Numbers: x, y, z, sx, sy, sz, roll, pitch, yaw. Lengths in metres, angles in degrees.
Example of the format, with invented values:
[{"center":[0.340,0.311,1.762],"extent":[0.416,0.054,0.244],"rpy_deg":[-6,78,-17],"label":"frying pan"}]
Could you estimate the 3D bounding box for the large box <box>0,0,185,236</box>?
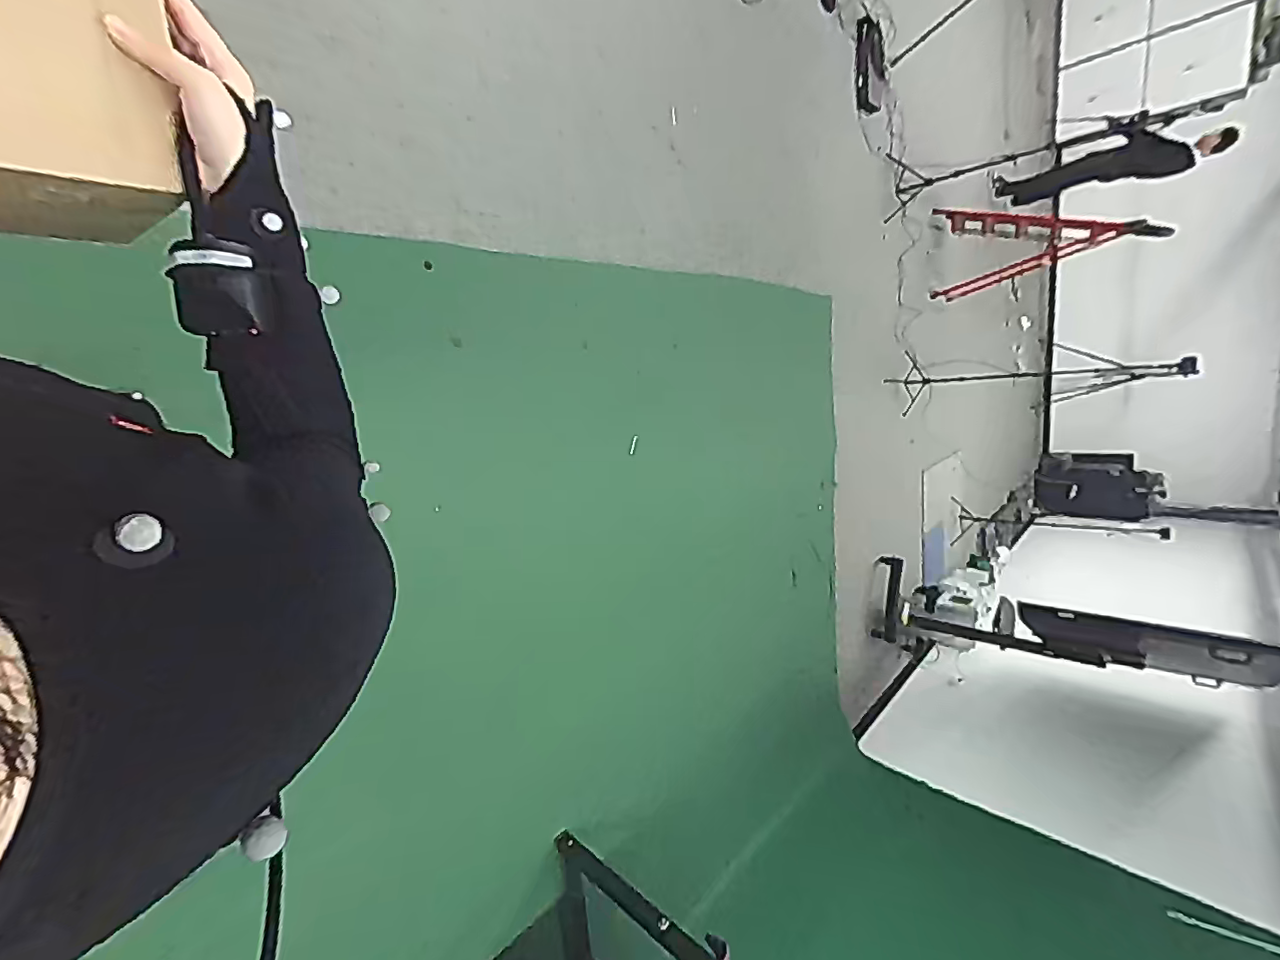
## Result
[{"center":[-0.582,-0.342,0.308],"extent":[0.408,0.320,0.320],"rpy_deg":[-19,114,-48],"label":"large box"}]
